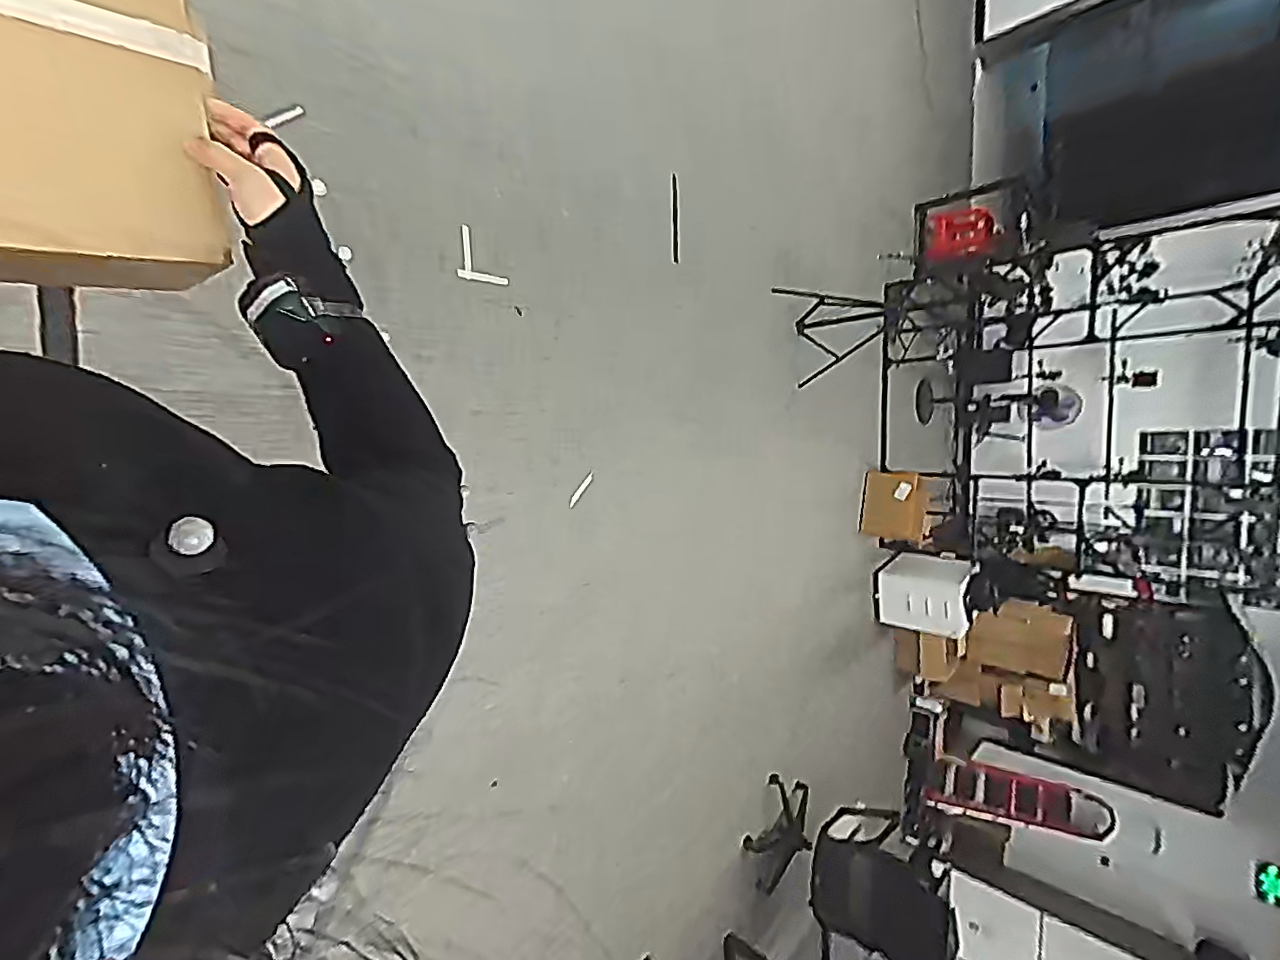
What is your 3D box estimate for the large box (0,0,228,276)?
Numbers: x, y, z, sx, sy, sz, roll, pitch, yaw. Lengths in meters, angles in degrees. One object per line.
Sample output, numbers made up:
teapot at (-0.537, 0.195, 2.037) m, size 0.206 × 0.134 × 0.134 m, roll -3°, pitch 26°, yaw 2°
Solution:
large box at (-0.606, -0.334, 0.405) m, size 0.408 × 0.320 × 0.320 m, roll -14°, pitch 109°, yaw -42°
